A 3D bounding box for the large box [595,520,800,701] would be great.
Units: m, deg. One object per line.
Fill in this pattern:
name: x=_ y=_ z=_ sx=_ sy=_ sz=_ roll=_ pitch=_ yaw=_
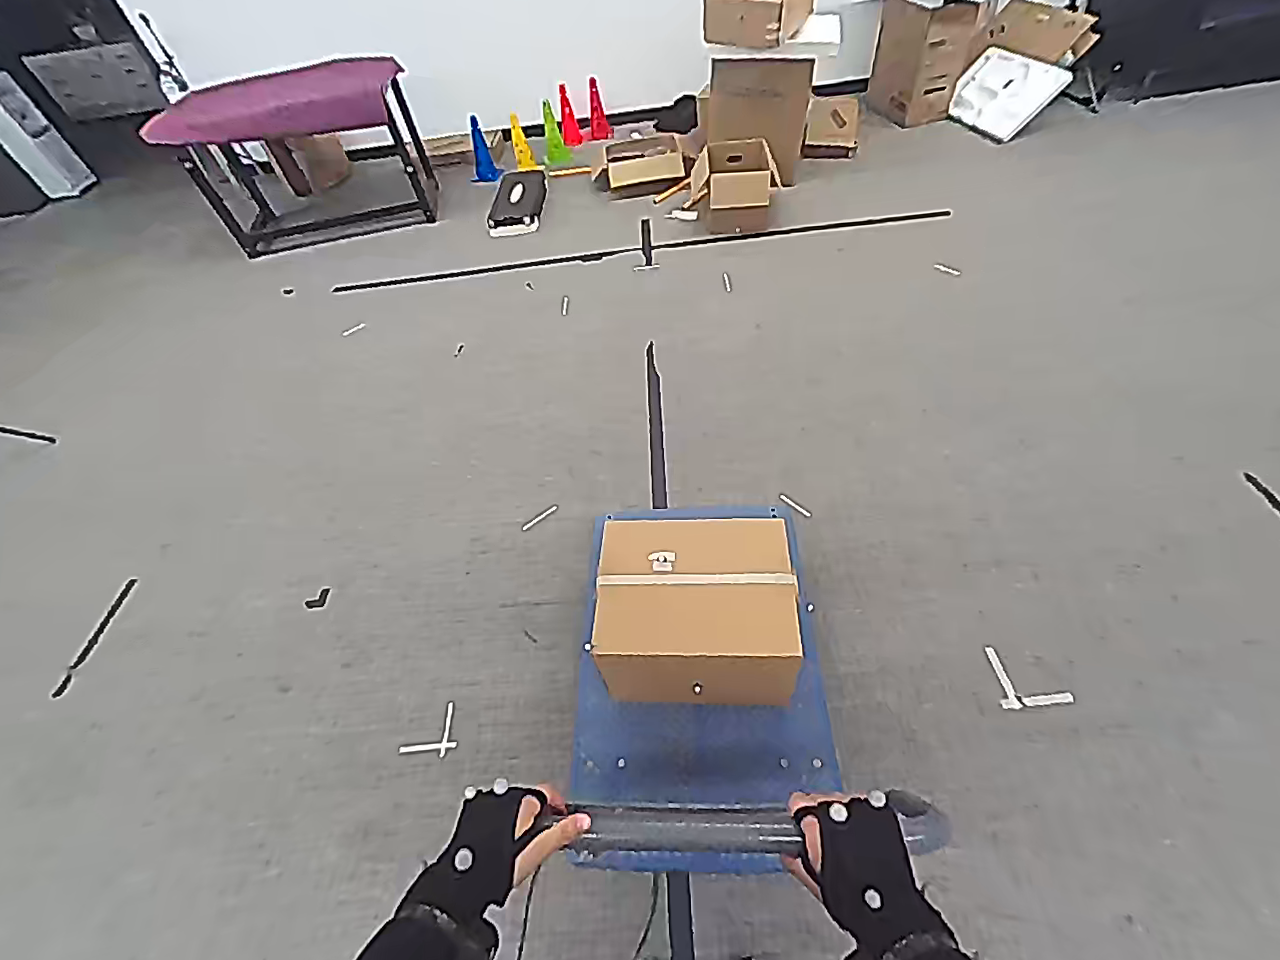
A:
large box: x=0.131 y=0.311 z=1.251 sx=0.408 sy=0.320 sz=0.320 roll=-2 pitch=50 yaw=7
